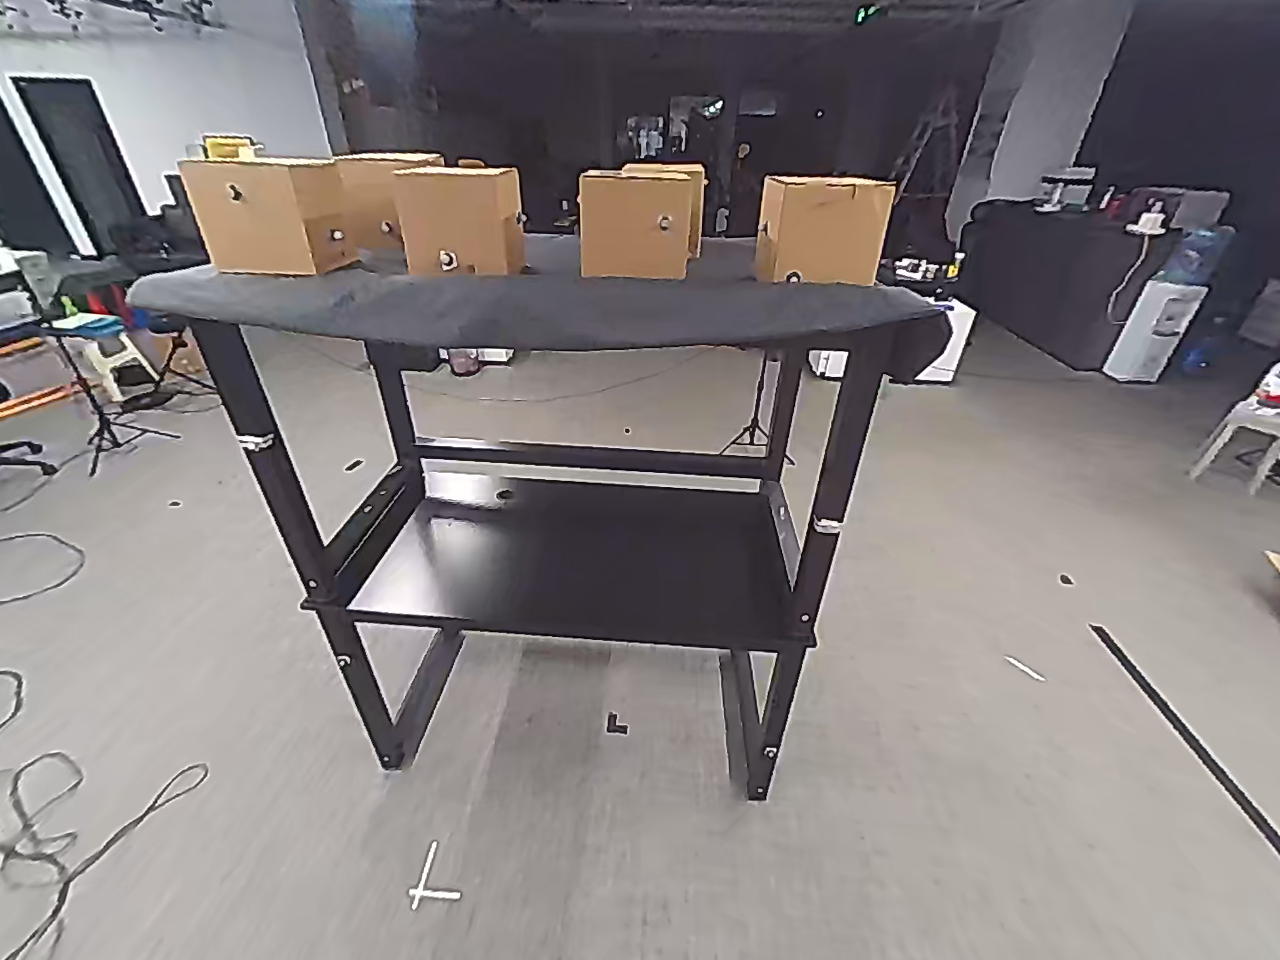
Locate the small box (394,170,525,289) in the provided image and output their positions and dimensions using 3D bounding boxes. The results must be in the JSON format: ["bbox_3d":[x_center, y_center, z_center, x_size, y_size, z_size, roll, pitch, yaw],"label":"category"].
[{"bbox_3d":[-0.299,-0.437,0.937,0.168,0.176,0.179,0,32,-1],"label":"small box"}]

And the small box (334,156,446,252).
[{"bbox_3d":[-0.527,-0.605,1.187,0.179,0.176,0.168,3,33,0],"label":"small box"}]

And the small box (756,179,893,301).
[{"bbox_3d":[0.296,-0.405,0.910,0.168,0.176,0.179,1,32,0],"label":"small box"}]

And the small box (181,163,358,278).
[{"bbox_3d":[-0.630,-0.456,0.947,0.179,0.176,0.168,2,32,-1],"label":"small box"}]

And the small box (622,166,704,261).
[{"bbox_3d":[0.050,-0.579,1.174,0.168,0.176,0.179,2,33,2],"label":"small box"}]
